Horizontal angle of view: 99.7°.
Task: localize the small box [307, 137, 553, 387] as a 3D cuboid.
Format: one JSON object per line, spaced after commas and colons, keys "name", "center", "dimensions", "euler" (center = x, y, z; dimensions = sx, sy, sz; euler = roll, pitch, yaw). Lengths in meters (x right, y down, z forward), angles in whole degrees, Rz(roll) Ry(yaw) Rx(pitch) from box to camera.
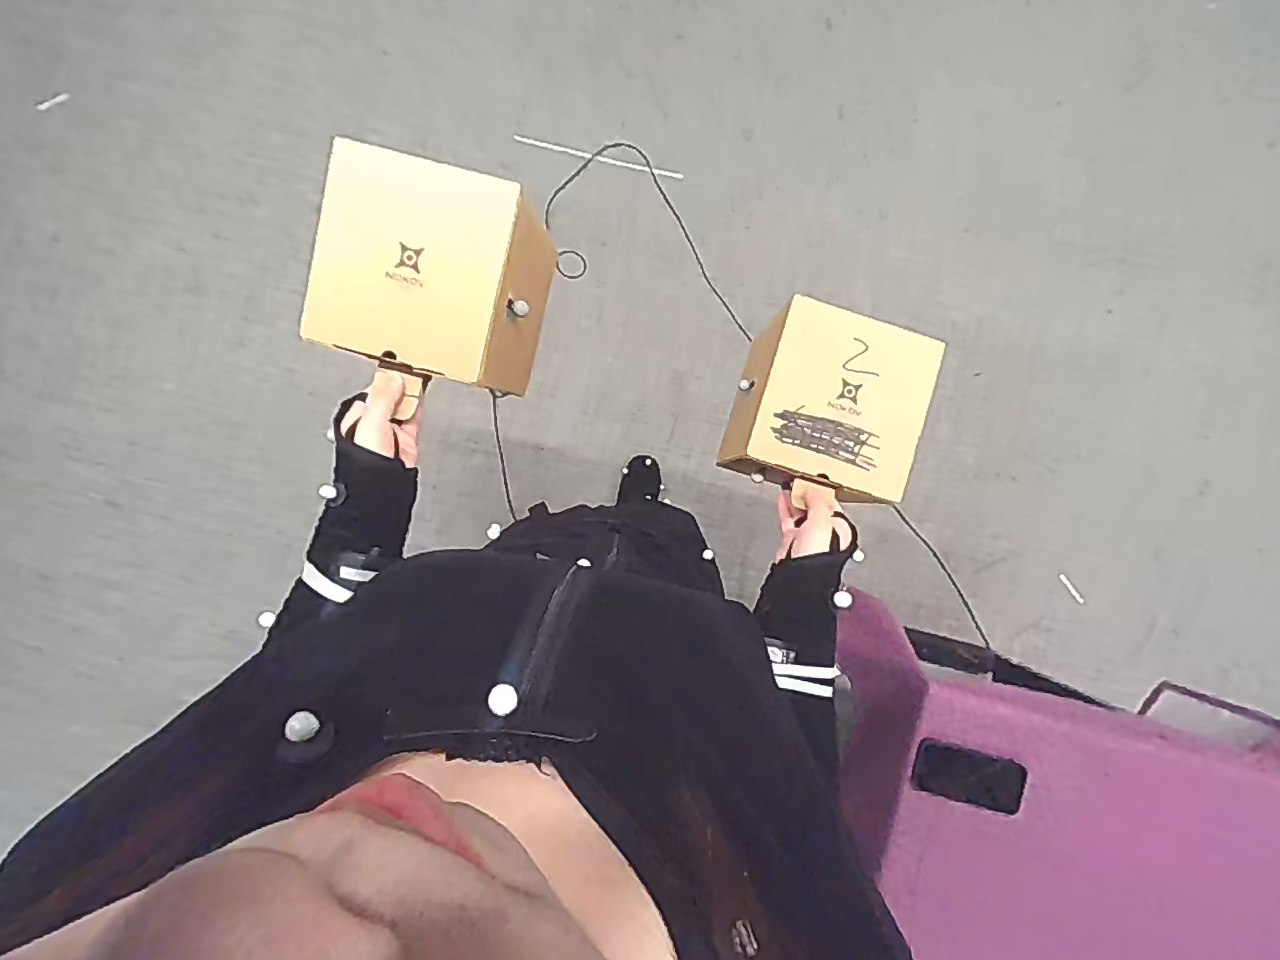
{"name": "small box", "center": [-0.195, -0.201, 0.552], "dimensions": [0.168, 0.176, 0.179], "euler": [15, 98, 1]}
